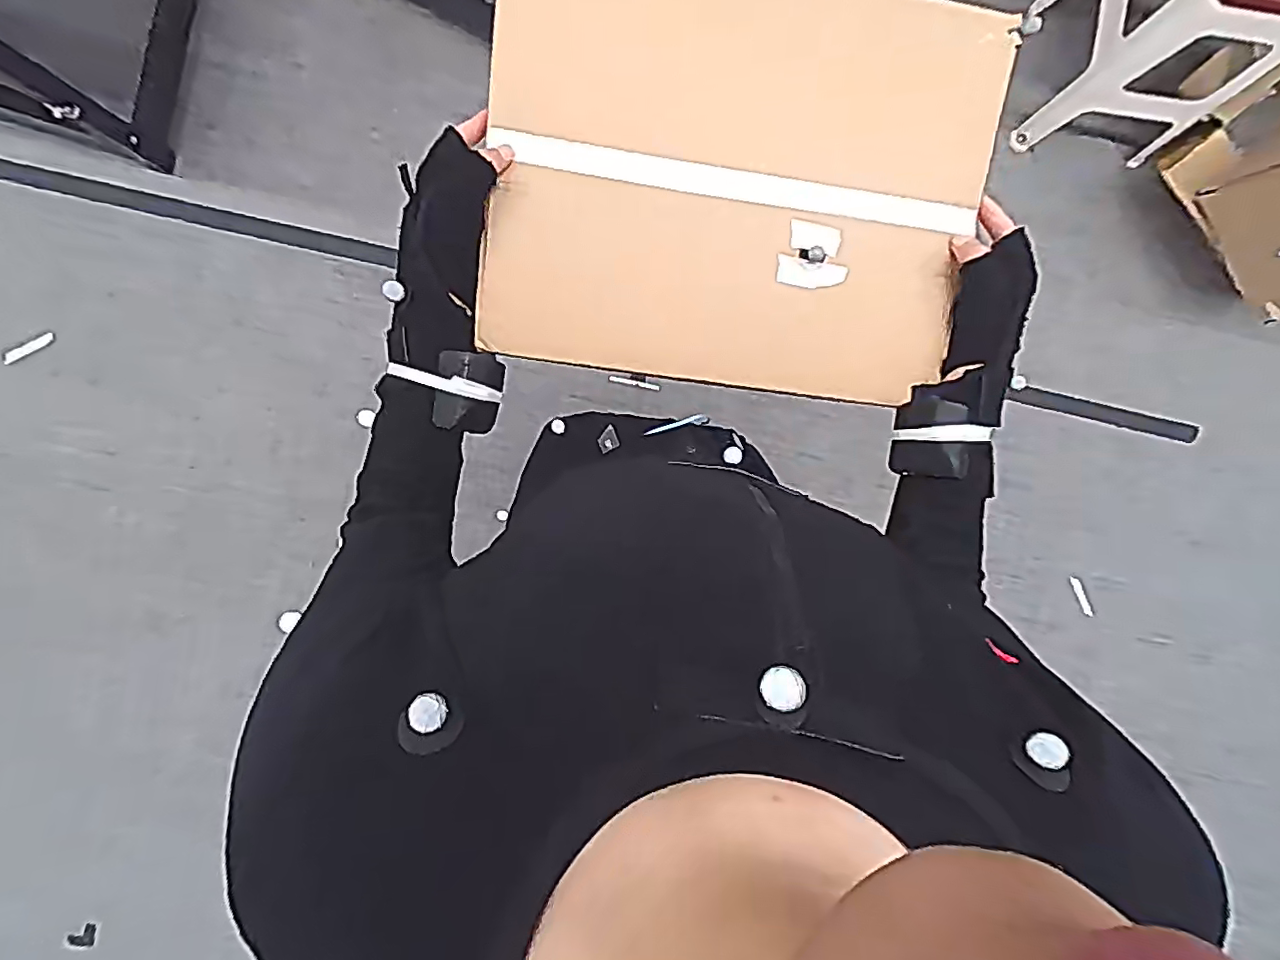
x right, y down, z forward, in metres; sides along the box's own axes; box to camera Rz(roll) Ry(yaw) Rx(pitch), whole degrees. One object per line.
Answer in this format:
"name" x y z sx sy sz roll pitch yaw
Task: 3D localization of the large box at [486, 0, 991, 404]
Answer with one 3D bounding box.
"large box" 0.064 -0.267 0.598 0.408 0.320 0.320 6 102 -7
